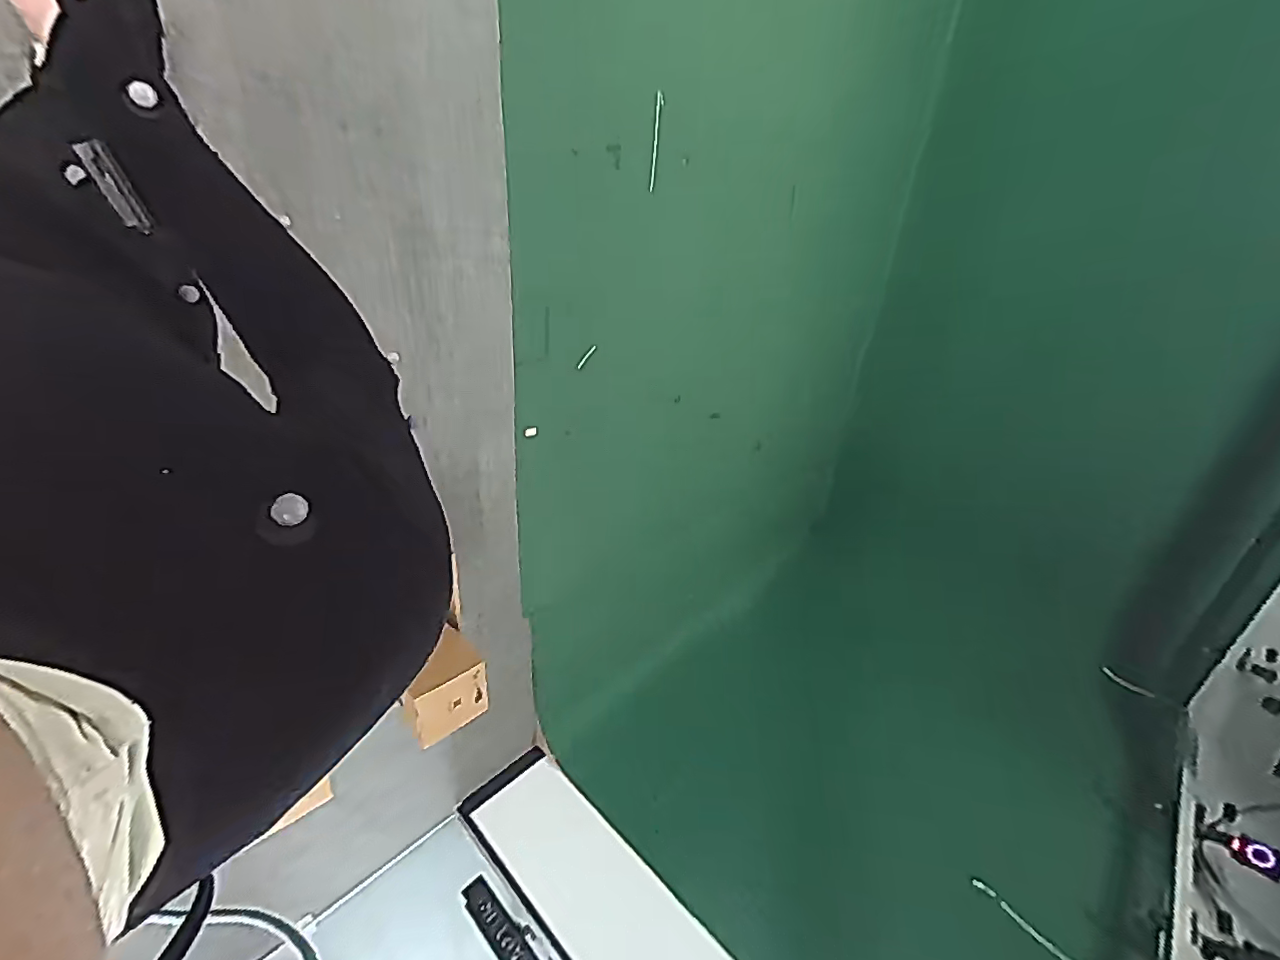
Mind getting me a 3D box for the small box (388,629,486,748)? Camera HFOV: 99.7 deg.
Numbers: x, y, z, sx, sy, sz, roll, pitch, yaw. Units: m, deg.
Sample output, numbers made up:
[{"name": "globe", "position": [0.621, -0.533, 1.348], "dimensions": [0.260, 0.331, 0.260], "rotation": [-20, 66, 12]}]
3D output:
[{"name": "small box", "position": [-0.500, 0.502, 1.324], "dimensions": [0.179, 0.176, 0.168], "rotation": [-20, 126, -41]}]
